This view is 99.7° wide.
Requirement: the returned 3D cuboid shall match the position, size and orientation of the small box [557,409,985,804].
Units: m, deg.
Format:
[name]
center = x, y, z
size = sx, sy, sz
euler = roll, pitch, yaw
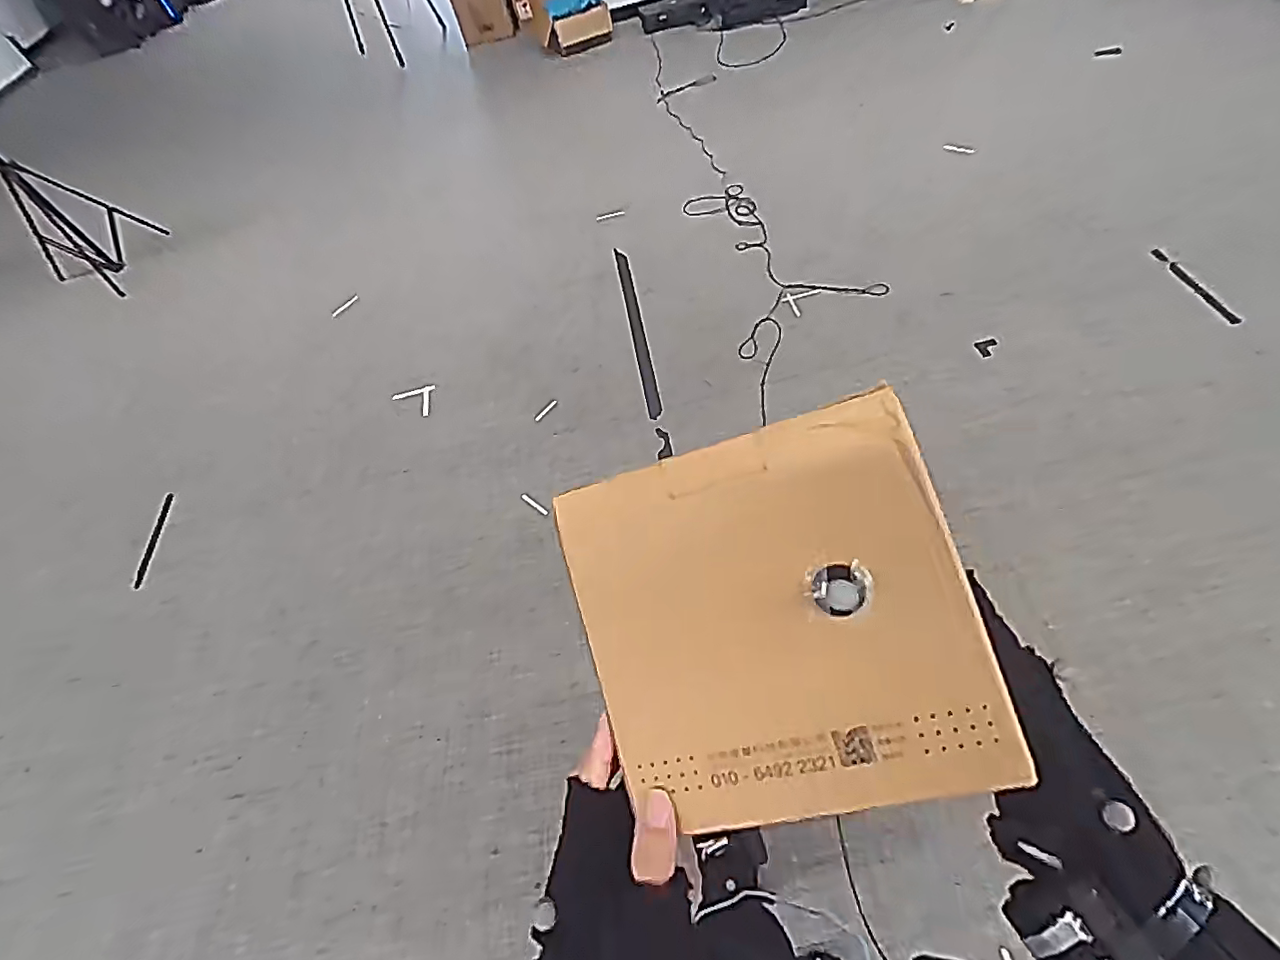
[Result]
[small box]
center = 0.078, 0.074, 0.332
size = 0.168, 0.179, 0.176
euler = -19, 83, 17
